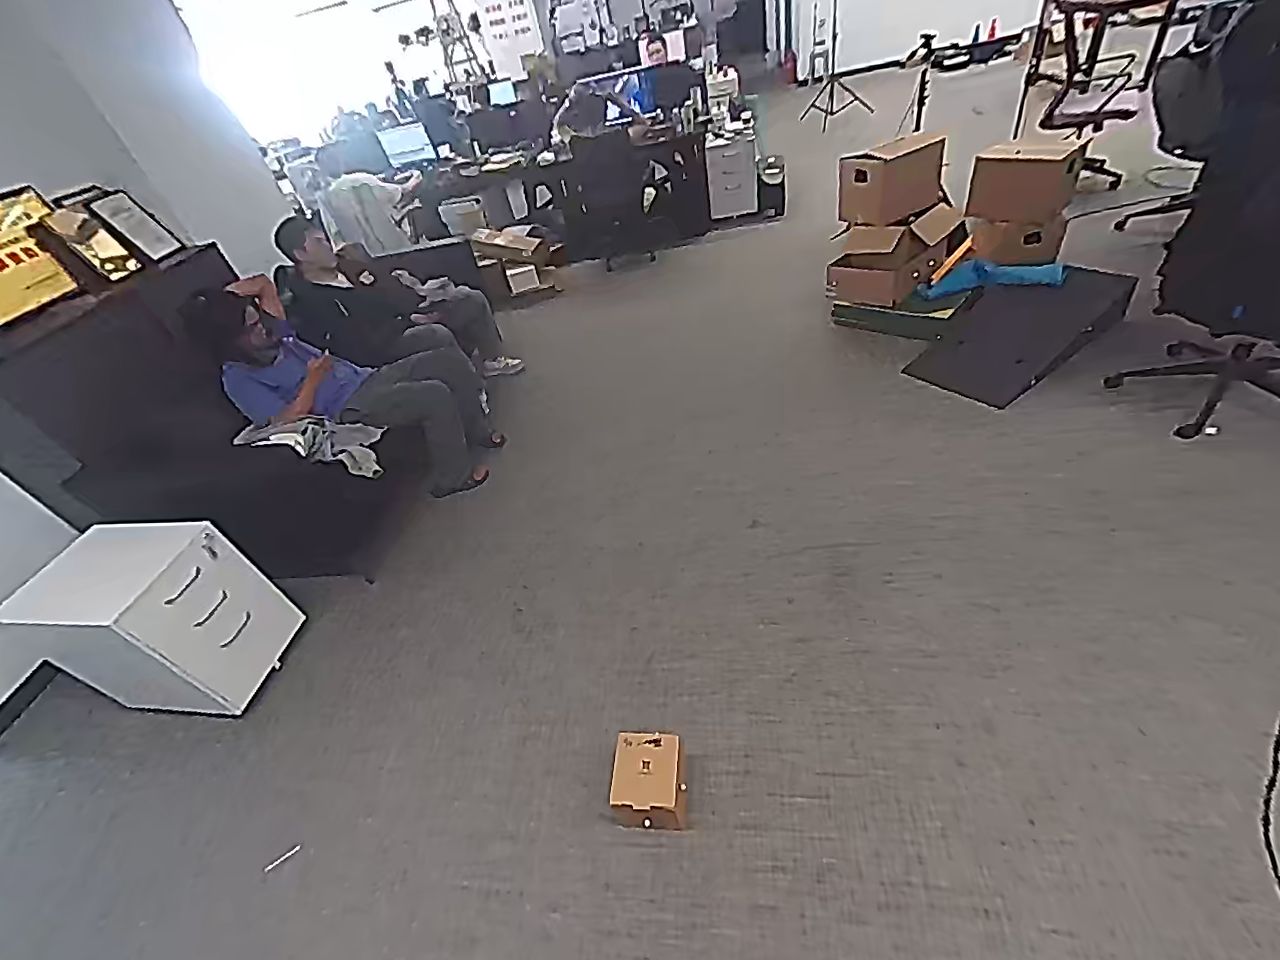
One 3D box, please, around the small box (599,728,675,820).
[{"bbox_3d":[0.000,0.781,1.434,0.168,0.176,0.179,-5,41,11],"label":"small box"}]
